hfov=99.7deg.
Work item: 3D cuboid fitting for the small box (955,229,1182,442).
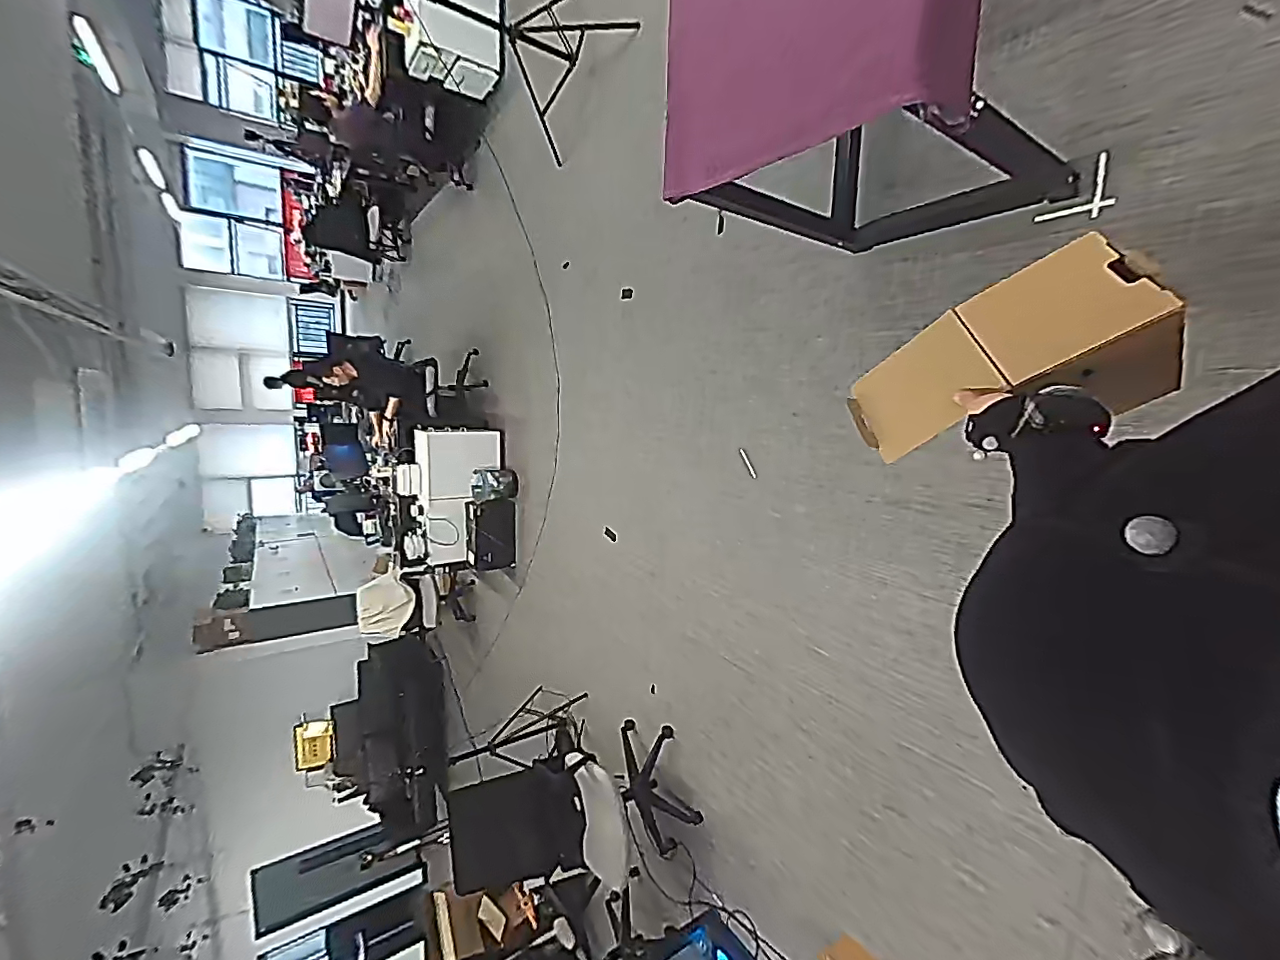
[{"bbox_3d":[0.561,-0.178,0.715,0.179,0.176,0.168,-29,47,27],"label":"small box"}]
